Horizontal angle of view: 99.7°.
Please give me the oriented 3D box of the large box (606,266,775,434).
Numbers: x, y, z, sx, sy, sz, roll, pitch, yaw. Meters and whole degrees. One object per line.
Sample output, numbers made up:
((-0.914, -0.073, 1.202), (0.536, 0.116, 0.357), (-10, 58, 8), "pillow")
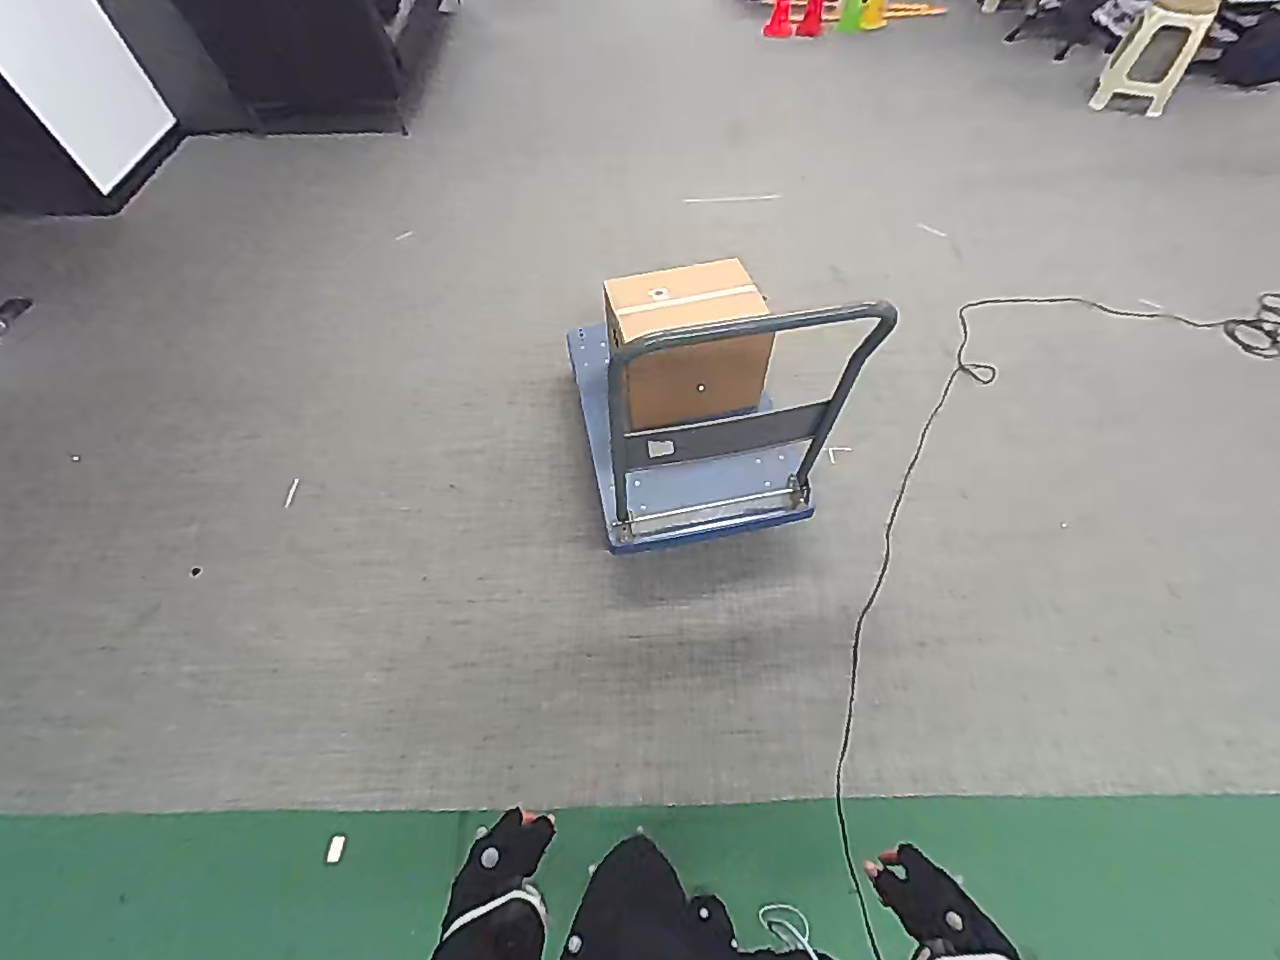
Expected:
((0.137, -0.381, 1.607), (0.408, 0.320, 0.320), (-13, 55, -7), "large box")
